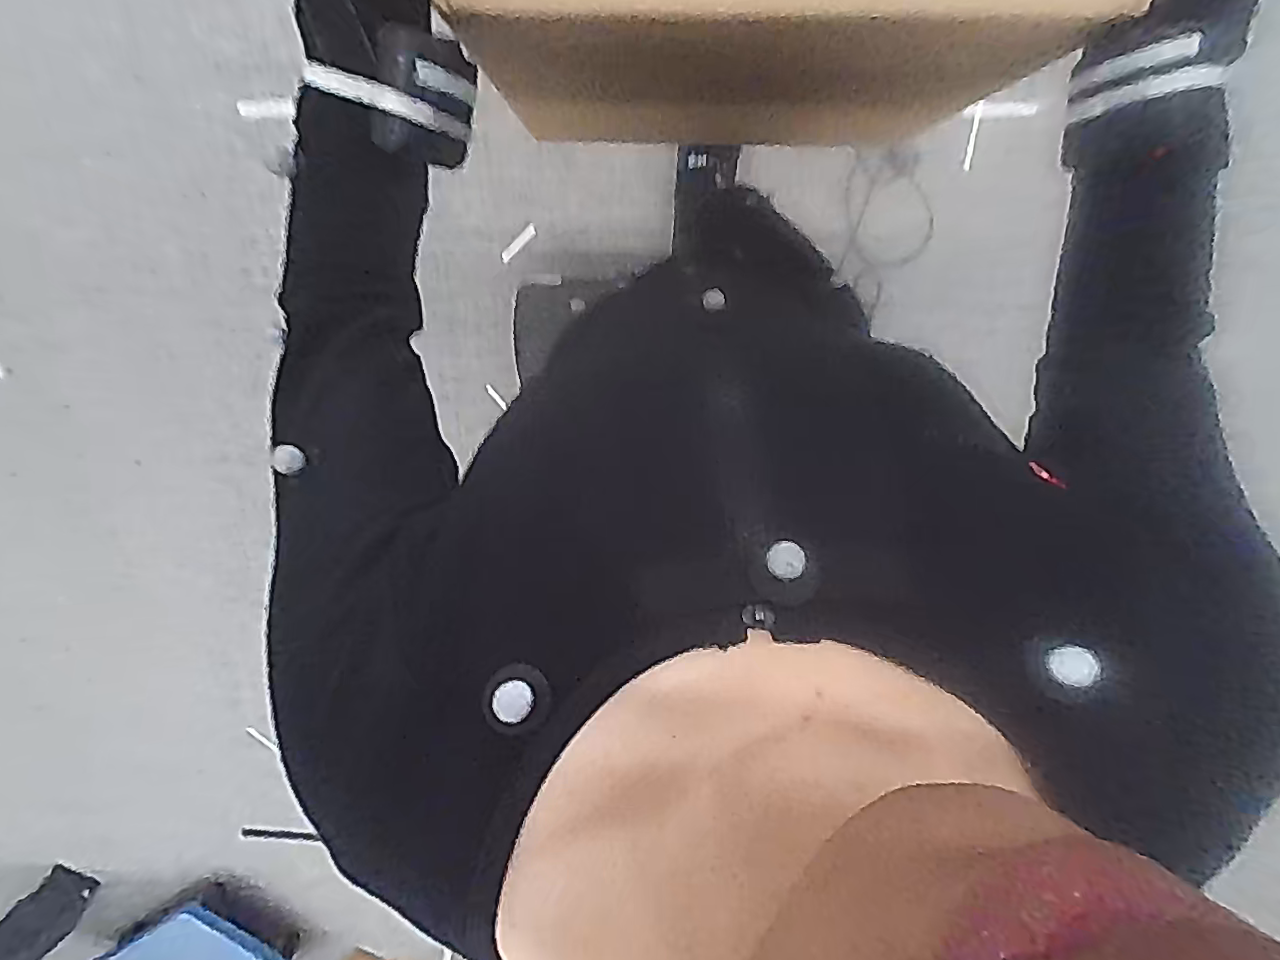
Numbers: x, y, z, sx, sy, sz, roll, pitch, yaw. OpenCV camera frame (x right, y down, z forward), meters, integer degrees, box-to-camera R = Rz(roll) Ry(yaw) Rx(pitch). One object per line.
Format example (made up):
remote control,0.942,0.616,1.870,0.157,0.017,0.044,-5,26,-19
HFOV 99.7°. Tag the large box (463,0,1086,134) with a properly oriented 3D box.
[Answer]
large box,0.083,-0.478,0.404,0.408,0.320,0.320,0,111,0
